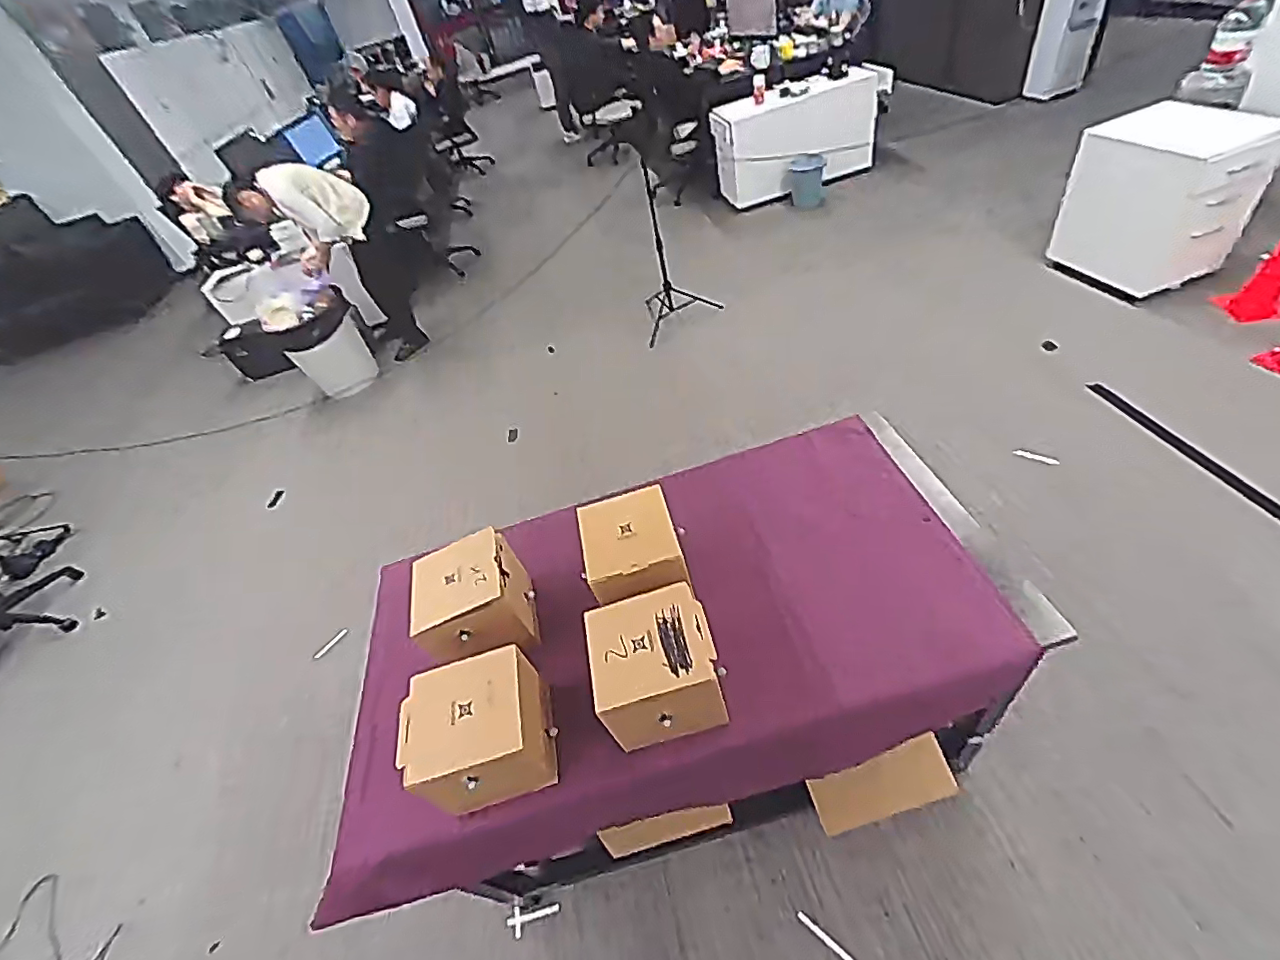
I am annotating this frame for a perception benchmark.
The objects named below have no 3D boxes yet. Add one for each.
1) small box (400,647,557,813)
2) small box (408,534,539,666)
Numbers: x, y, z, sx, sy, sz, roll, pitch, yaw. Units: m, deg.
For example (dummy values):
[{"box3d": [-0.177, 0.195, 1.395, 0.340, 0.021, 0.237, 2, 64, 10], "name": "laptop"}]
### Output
[{"box3d": [-0.244, 0.395, 0.847, 0.179, 0.176, 0.168, -17, 45, 0], "name": "small box"}, {"box3d": [-0.308, 0.237, 1.018, 0.179, 0.176, 0.168, -19, 45, -2], "name": "small box"}]
